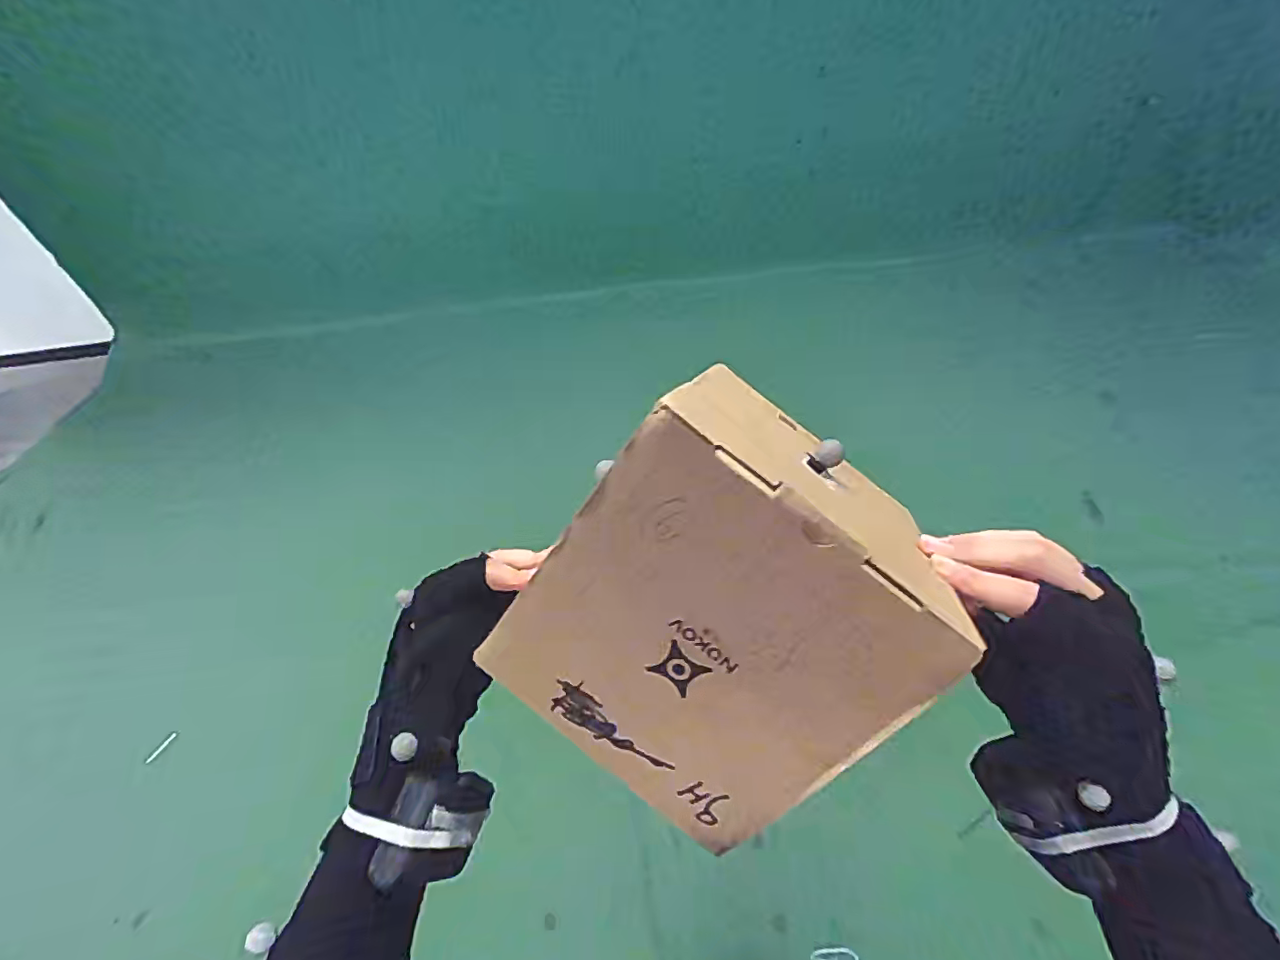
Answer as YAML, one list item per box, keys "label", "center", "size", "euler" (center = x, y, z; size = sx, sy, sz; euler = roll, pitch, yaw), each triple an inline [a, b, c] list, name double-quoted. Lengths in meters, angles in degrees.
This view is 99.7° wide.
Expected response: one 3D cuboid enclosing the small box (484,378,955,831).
- label: "small box"
  center: [0.044, 0.055, 0.336]
  size: [0.168, 0.179, 0.176]
  euler: [39, 23, 3]
